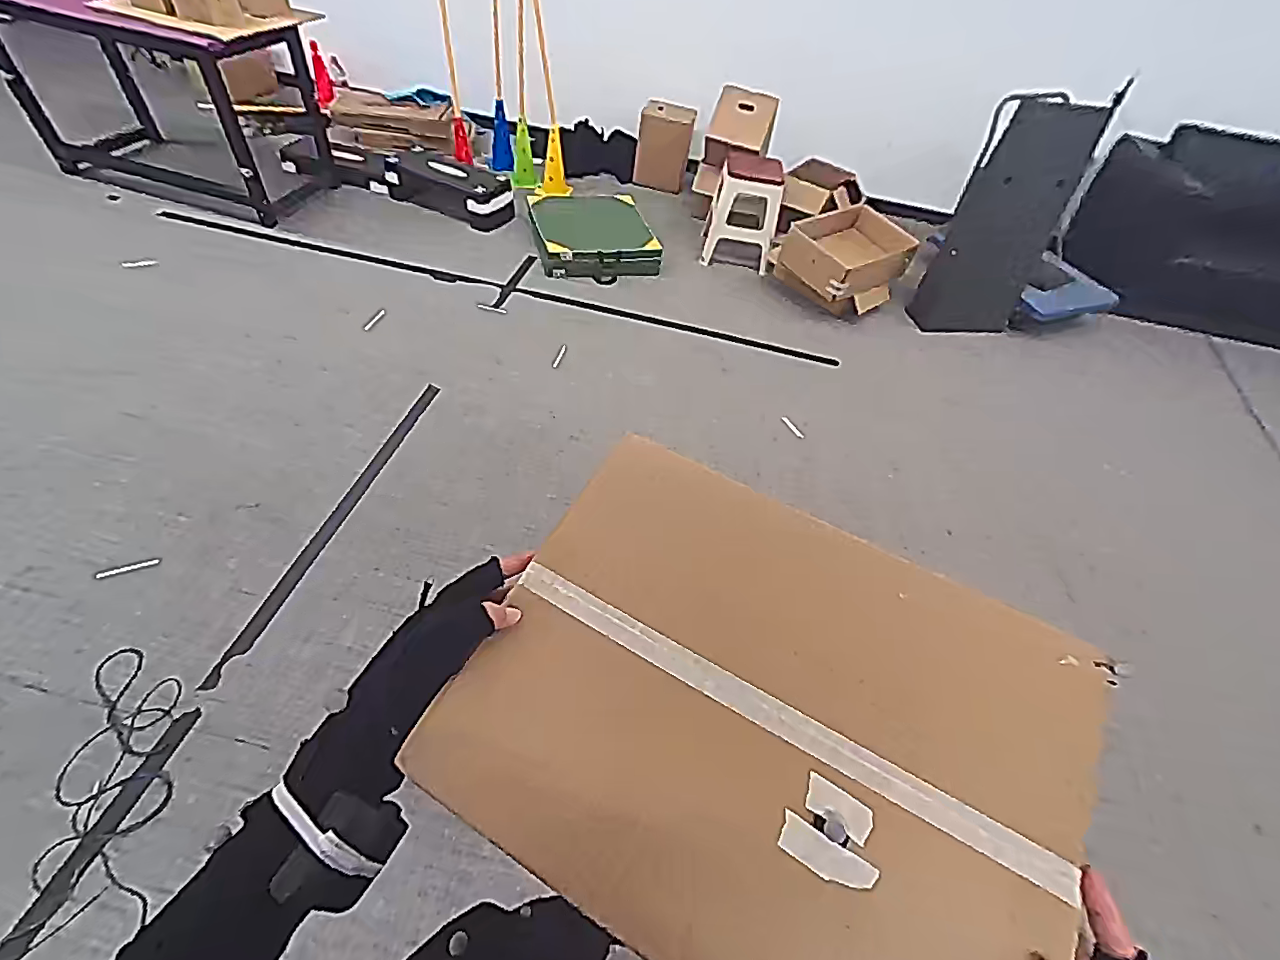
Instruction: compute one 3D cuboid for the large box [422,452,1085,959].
[{"bbox_3d":[0.091,0.241,0.521,0.408,0.320,0.320,26,65,16],"label":"large box"}]
